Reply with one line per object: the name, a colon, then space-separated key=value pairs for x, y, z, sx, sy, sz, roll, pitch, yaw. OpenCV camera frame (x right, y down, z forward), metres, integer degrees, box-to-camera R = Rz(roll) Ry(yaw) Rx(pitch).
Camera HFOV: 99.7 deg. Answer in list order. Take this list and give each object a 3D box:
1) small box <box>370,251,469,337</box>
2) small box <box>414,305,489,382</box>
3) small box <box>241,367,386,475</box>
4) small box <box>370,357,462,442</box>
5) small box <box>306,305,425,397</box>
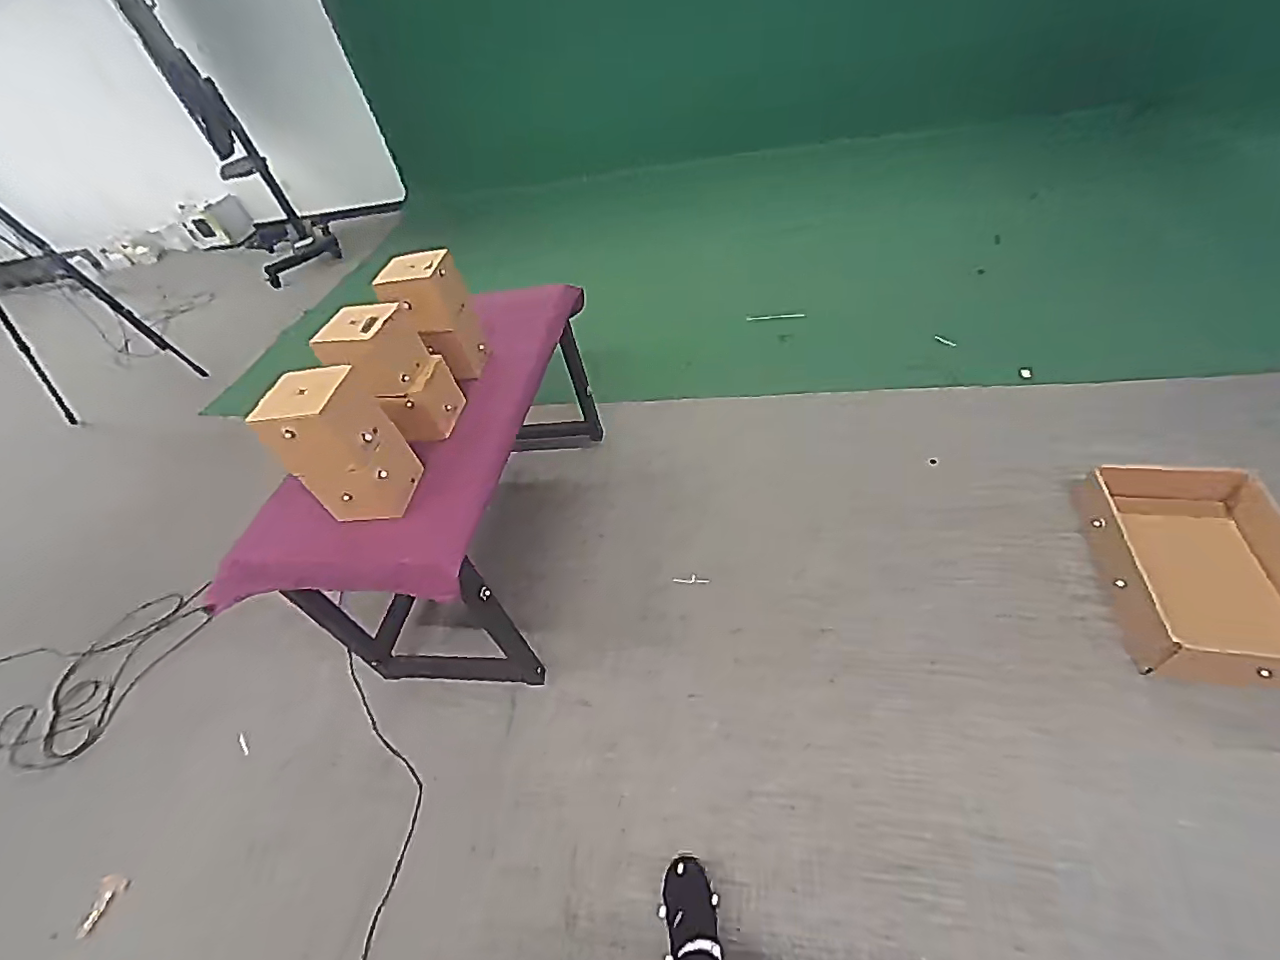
small box: x=-0.621 y=-0.525 z=1.544 sx=0.179 sy=0.176 sz=0.168 roll=-5 pitch=47 yaw=10
small box: x=-0.592 y=-0.413 z=1.661 sx=0.179 sy=0.176 sz=0.168 roll=-4 pitch=47 yaw=10
small box: x=-0.700 y=-0.124 z=1.183 sx=0.179 sy=0.176 sz=0.168 roll=-4 pitch=47 yaw=10
small box: x=-0.623 y=-0.216 z=1.485 sx=0.179 sy=0.176 sz=0.168 roll=-2 pitch=47 yaw=10
small box: x=-0.682 y=-0.322 z=1.369 sx=0.179 sy=0.176 sz=0.168 roll=0 pitch=47 yaw=14
